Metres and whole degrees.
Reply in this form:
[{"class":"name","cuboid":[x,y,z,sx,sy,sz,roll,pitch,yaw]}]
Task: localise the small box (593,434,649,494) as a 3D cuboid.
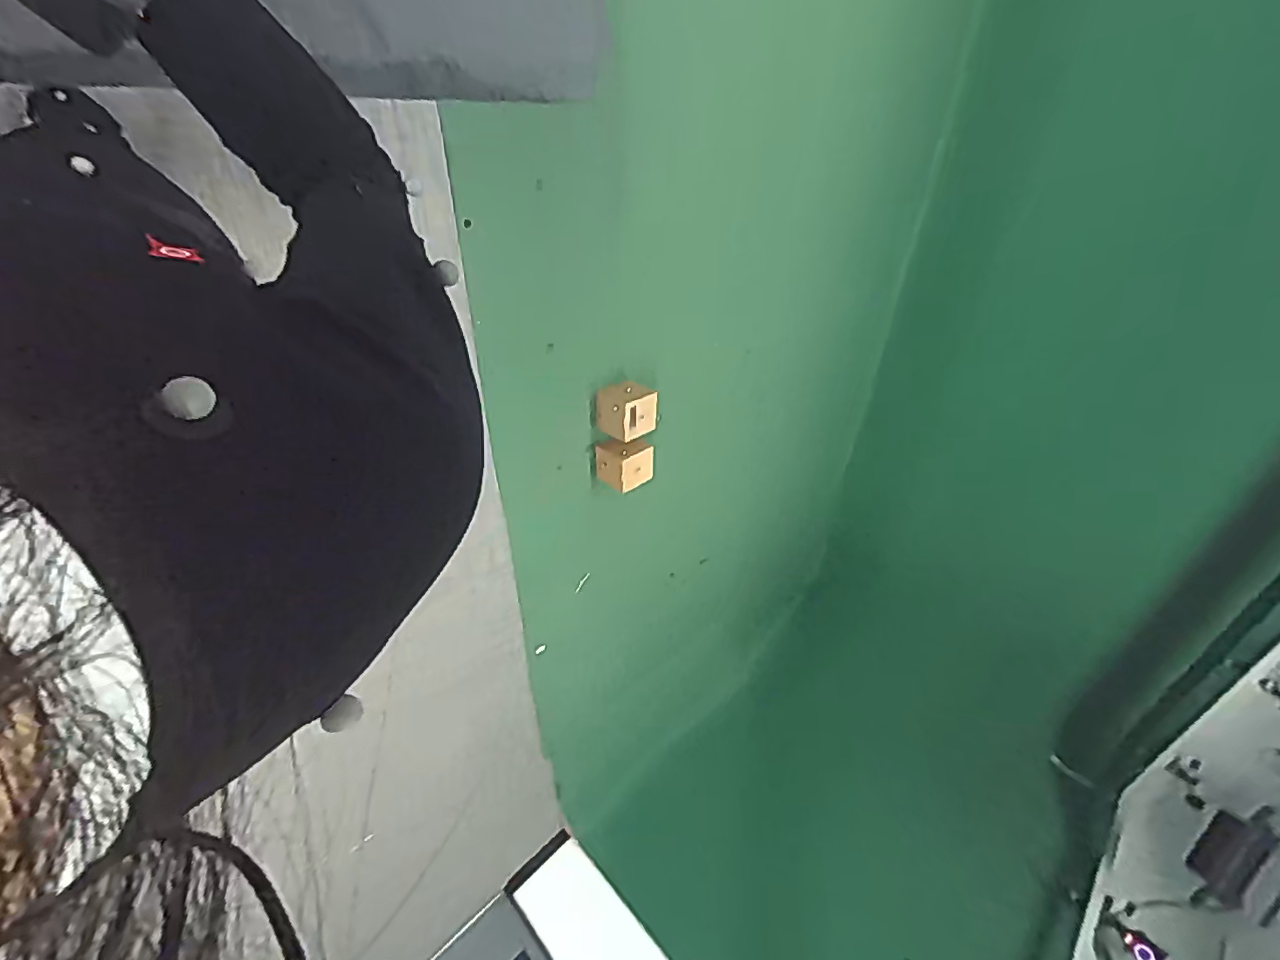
[{"class":"small box","cuboid":[-0.082,-0.075,2.292,0.179,0.176,0.168,-29,135,-34]}]
